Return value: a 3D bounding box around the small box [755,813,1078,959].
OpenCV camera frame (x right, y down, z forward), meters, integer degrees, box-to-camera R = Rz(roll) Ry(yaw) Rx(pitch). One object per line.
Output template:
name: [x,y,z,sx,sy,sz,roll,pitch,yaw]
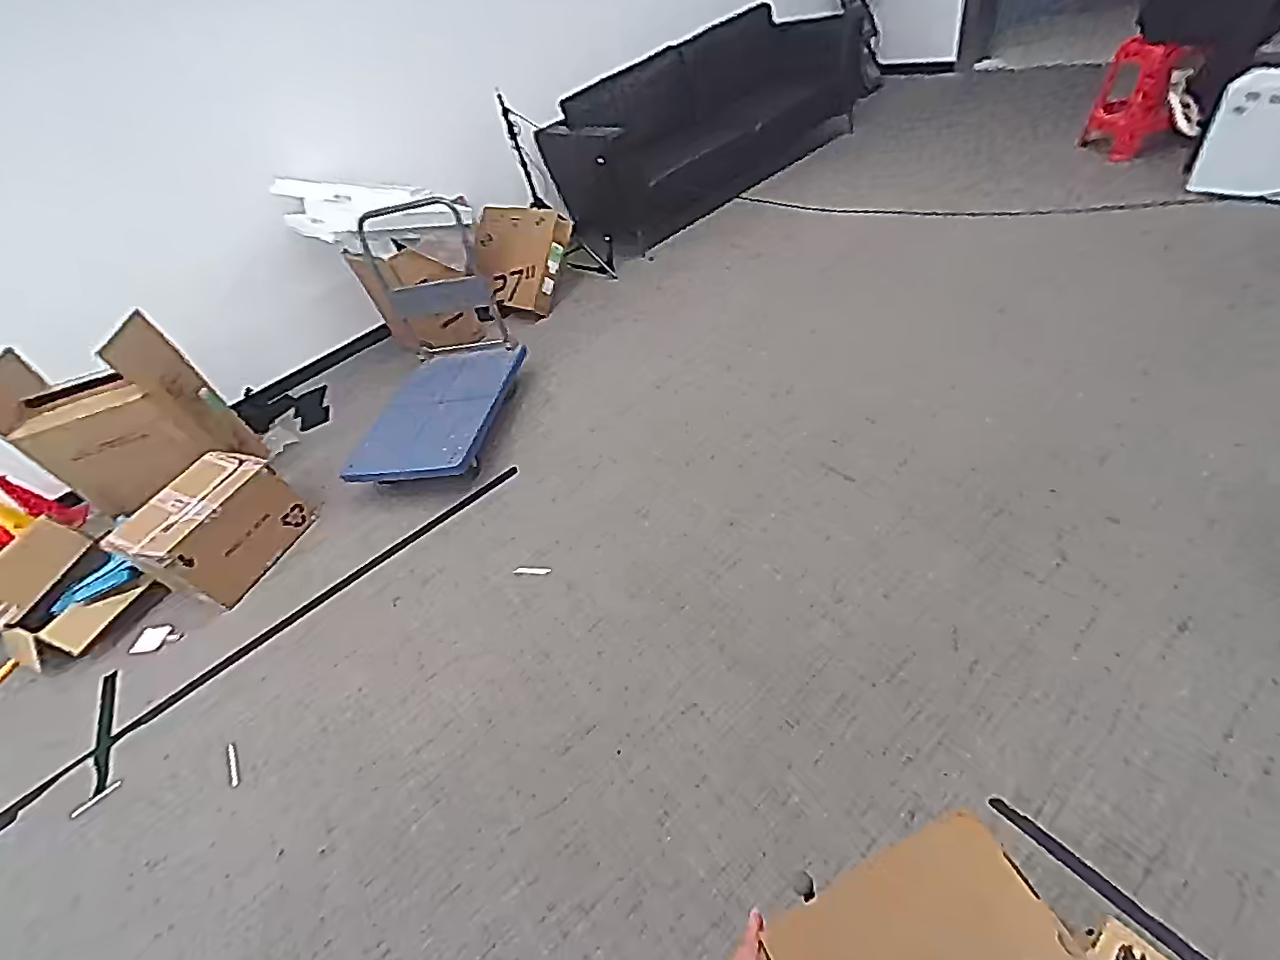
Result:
small box: [0.196,0.371,0.378,0.179,0.176,0.168,-23,51,-10]
